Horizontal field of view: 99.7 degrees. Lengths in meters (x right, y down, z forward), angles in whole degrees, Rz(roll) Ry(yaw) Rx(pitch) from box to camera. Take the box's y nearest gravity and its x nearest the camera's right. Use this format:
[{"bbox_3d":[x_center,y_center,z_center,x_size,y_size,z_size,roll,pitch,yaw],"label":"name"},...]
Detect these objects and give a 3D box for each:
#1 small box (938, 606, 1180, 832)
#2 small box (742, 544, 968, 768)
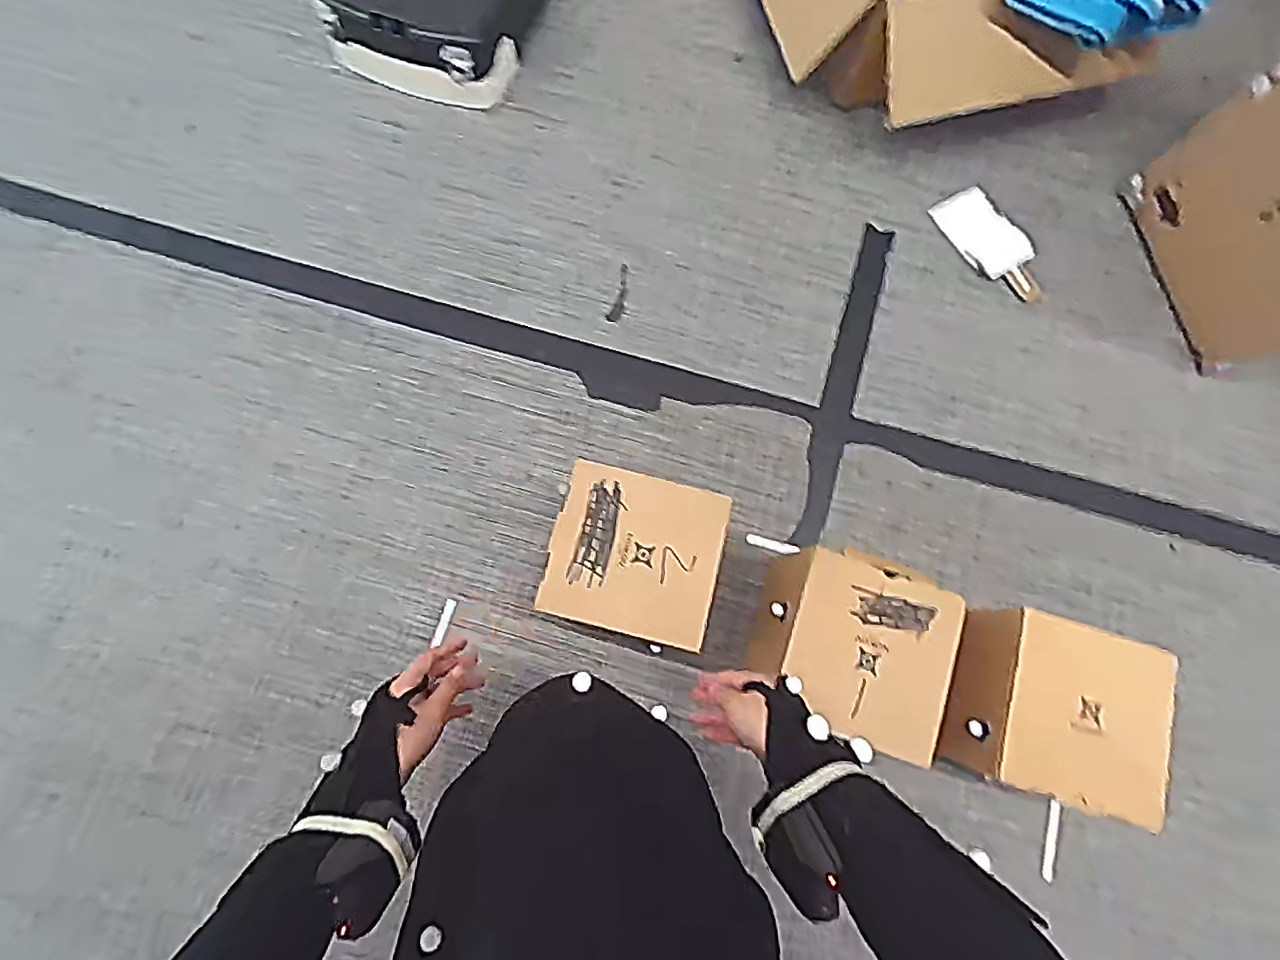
[{"bbox_3d":[0.448,0.251,0.617,0.168,0.176,0.179,18,78,1],"label":"small box"},{"bbox_3d":[0.230,0.188,0.618,0.168,0.176,0.179,20,78,2],"label":"small box"}]
